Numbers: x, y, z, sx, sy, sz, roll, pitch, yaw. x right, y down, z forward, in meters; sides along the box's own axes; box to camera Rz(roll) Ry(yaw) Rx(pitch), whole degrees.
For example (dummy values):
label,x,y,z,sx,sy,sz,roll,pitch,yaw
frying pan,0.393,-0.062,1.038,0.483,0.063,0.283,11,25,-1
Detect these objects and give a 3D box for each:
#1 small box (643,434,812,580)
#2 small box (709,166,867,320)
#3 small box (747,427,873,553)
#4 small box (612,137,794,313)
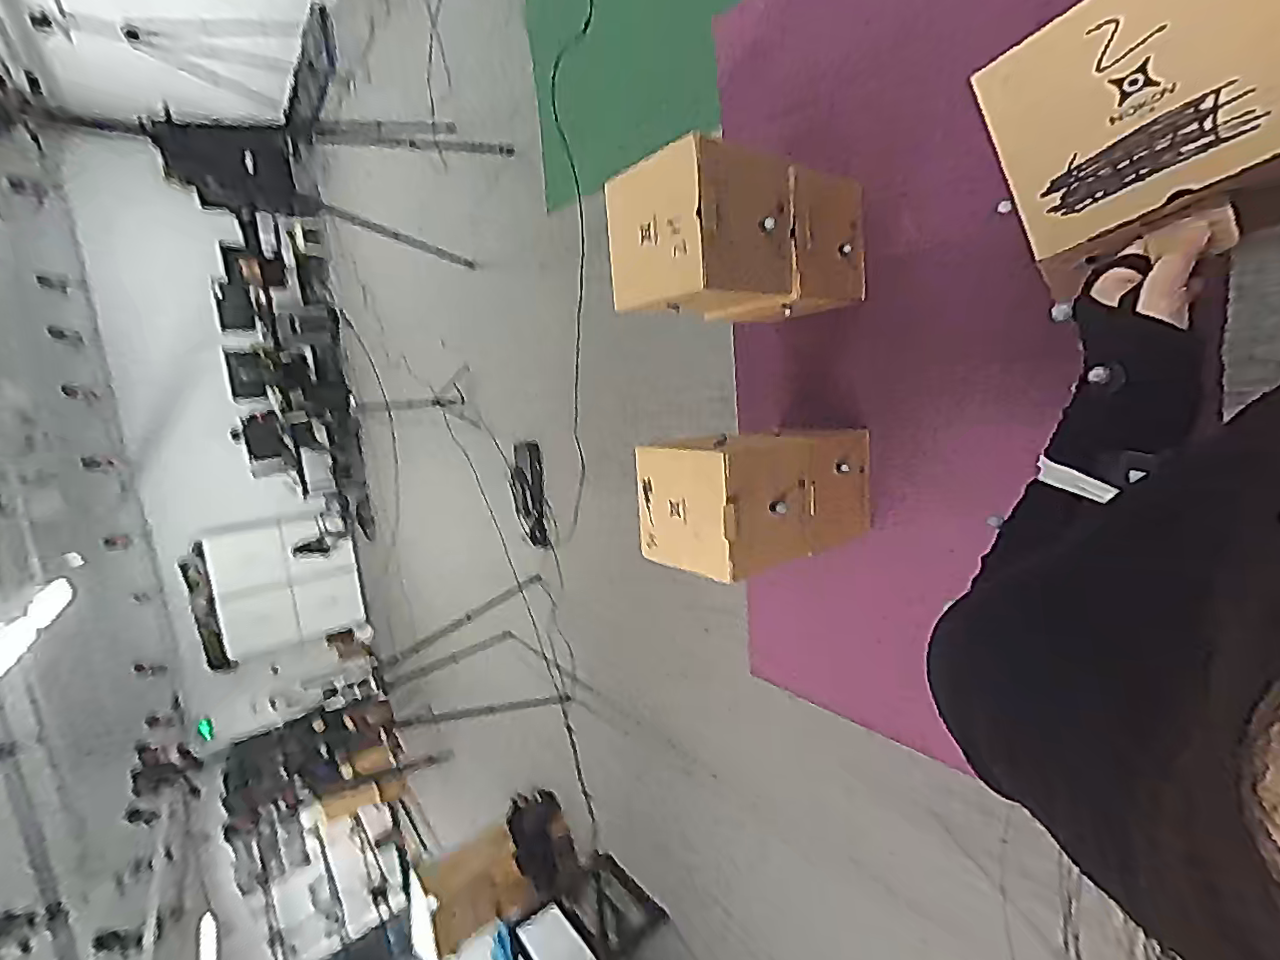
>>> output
label,x,y,z,sx,sy,sz,roll,pitch,yaw
small box,0.126,0.025,0.765,0.179,0.176,0.168,8,104,51
small box,0.218,-0.341,0.817,0.179,0.176,0.168,4,103,51
small box,0.254,0.004,0.867,0.179,0.176,0.168,8,105,52
small box,0.084,-0.320,0.723,0.179,0.176,0.168,8,106,51
